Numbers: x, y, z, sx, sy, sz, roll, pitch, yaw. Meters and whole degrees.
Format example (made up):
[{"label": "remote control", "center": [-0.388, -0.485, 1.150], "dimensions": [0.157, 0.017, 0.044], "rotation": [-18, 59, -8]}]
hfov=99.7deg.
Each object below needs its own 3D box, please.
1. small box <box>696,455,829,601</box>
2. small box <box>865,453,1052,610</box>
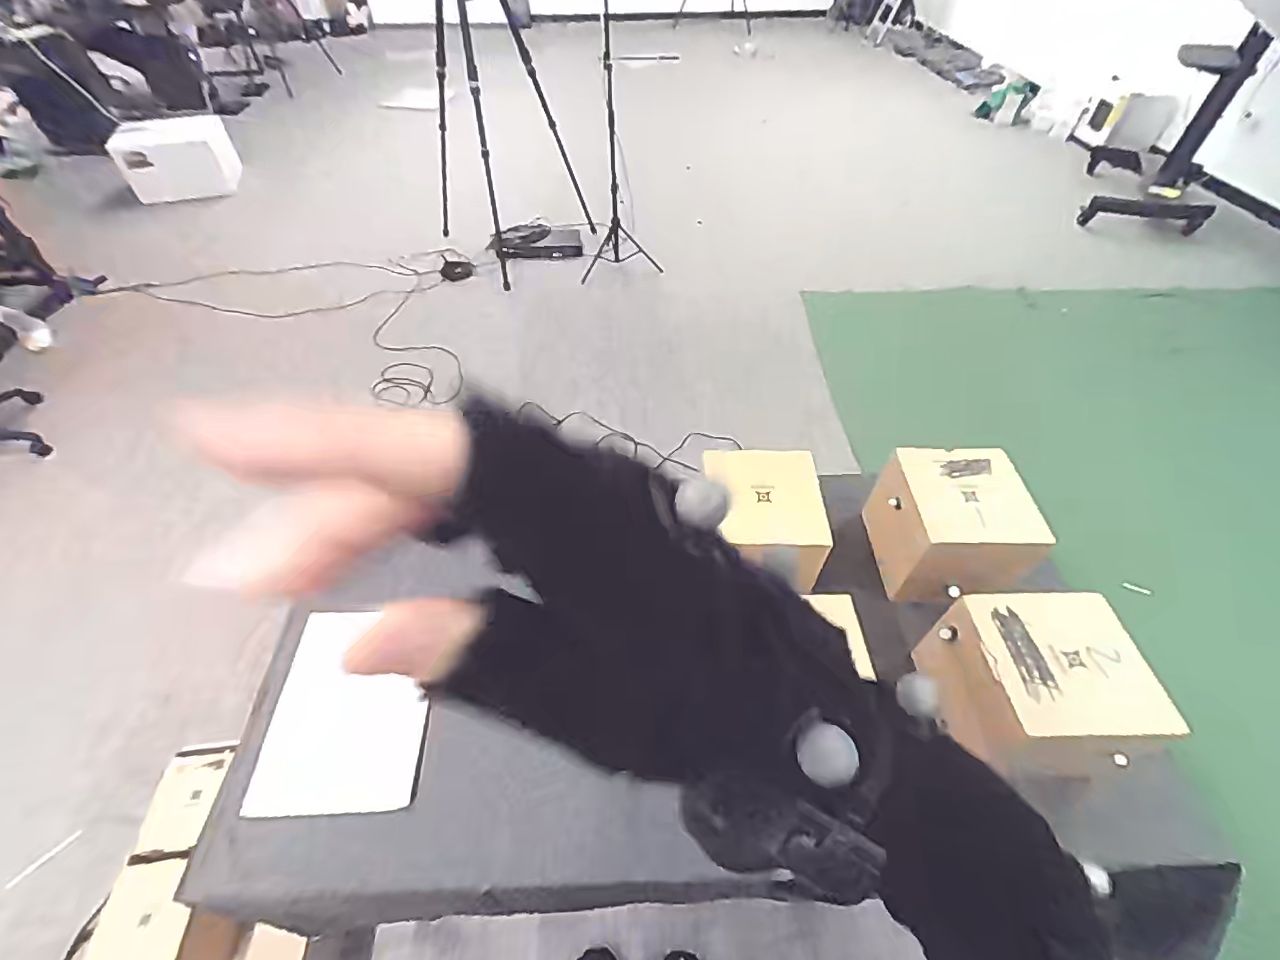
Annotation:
[{"label": "small box", "center": [0.175, 0.081, 0.832], "dimensions": [0.168, 0.176, 0.179], "rotation": [1, 48, 1]}, {"label": "small box", "center": [0.465, 0.079, 0.828], "dimensions": [0.168, 0.176, 0.179], "rotation": [0, 49, 1]}]
